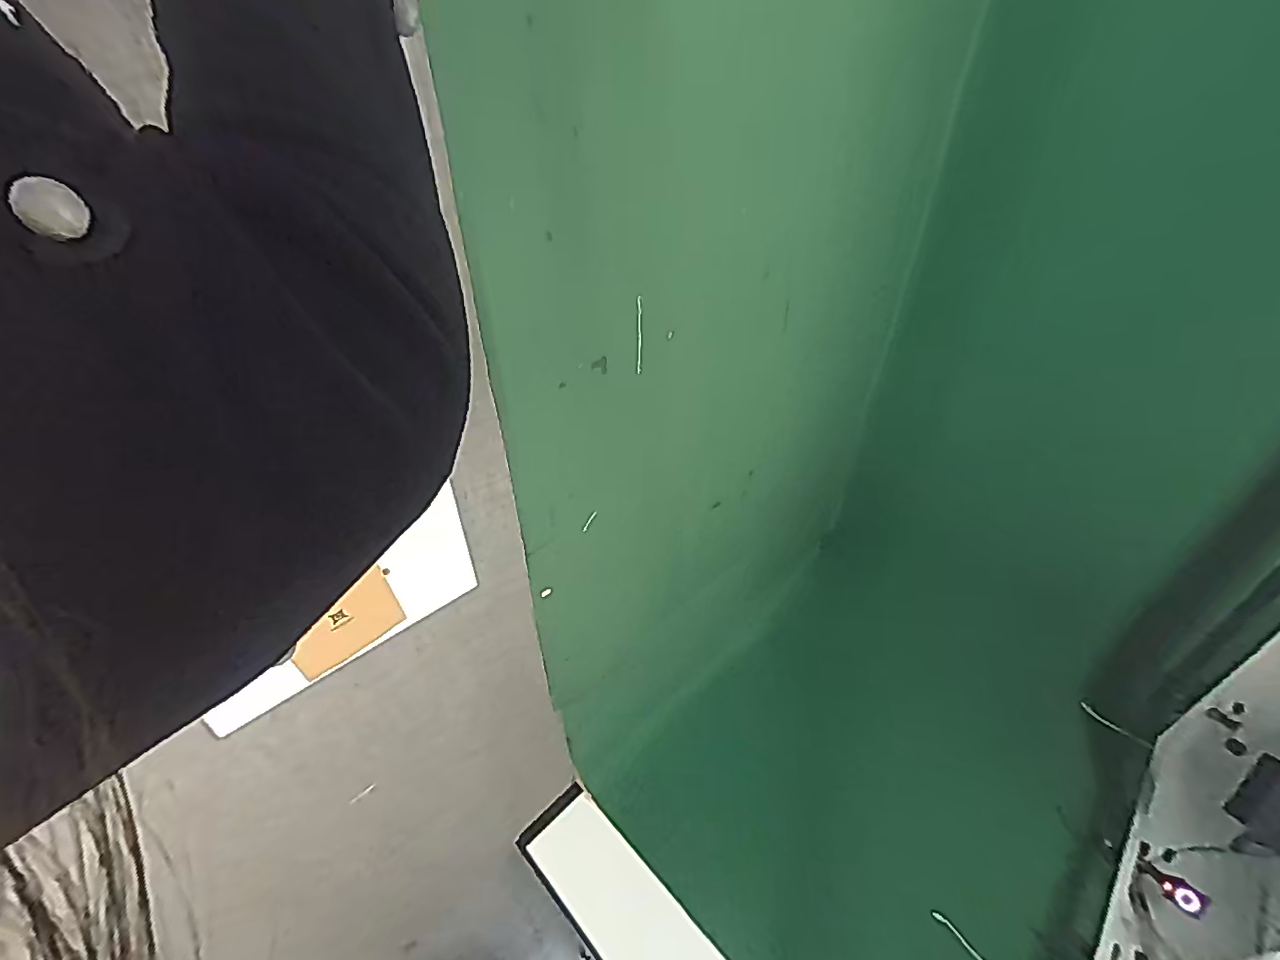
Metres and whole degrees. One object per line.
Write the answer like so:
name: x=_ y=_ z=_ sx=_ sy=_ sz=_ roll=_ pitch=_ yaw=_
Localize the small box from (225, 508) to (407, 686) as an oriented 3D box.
small box: x=-0.507 y=0.177 z=0.855 sx=0.168 sy=0.176 sz=0.179 roll=-35 pitch=138 yaw=-30
